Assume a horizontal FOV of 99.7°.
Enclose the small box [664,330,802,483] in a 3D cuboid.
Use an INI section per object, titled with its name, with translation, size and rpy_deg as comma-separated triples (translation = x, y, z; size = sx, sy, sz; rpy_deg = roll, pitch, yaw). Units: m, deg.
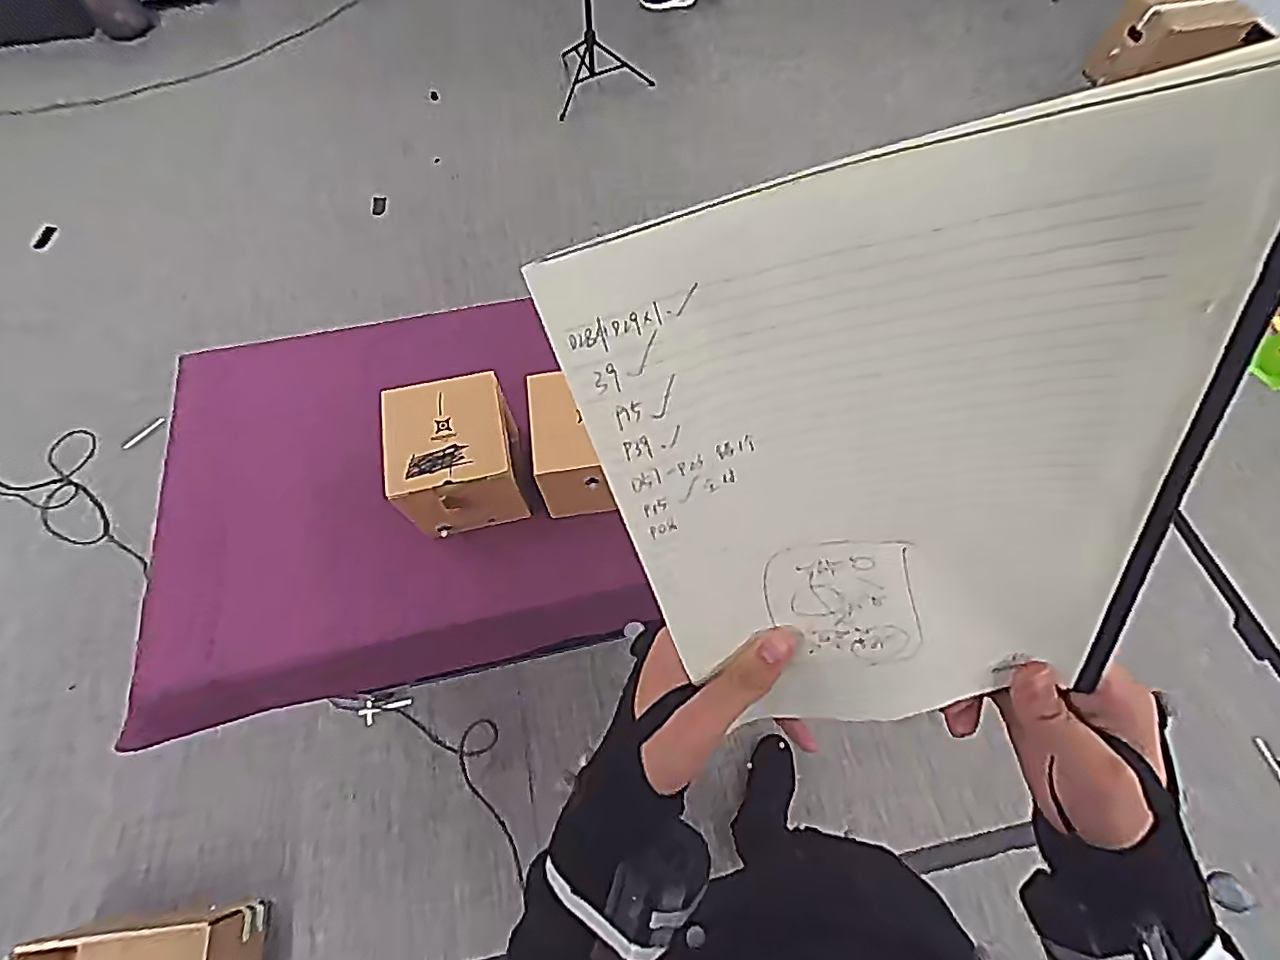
[small box]
translation = 0.135, -0.107, 0.859
size = 0.168, 0.176, 0.179
rpy_deg = -10, 65, -5
